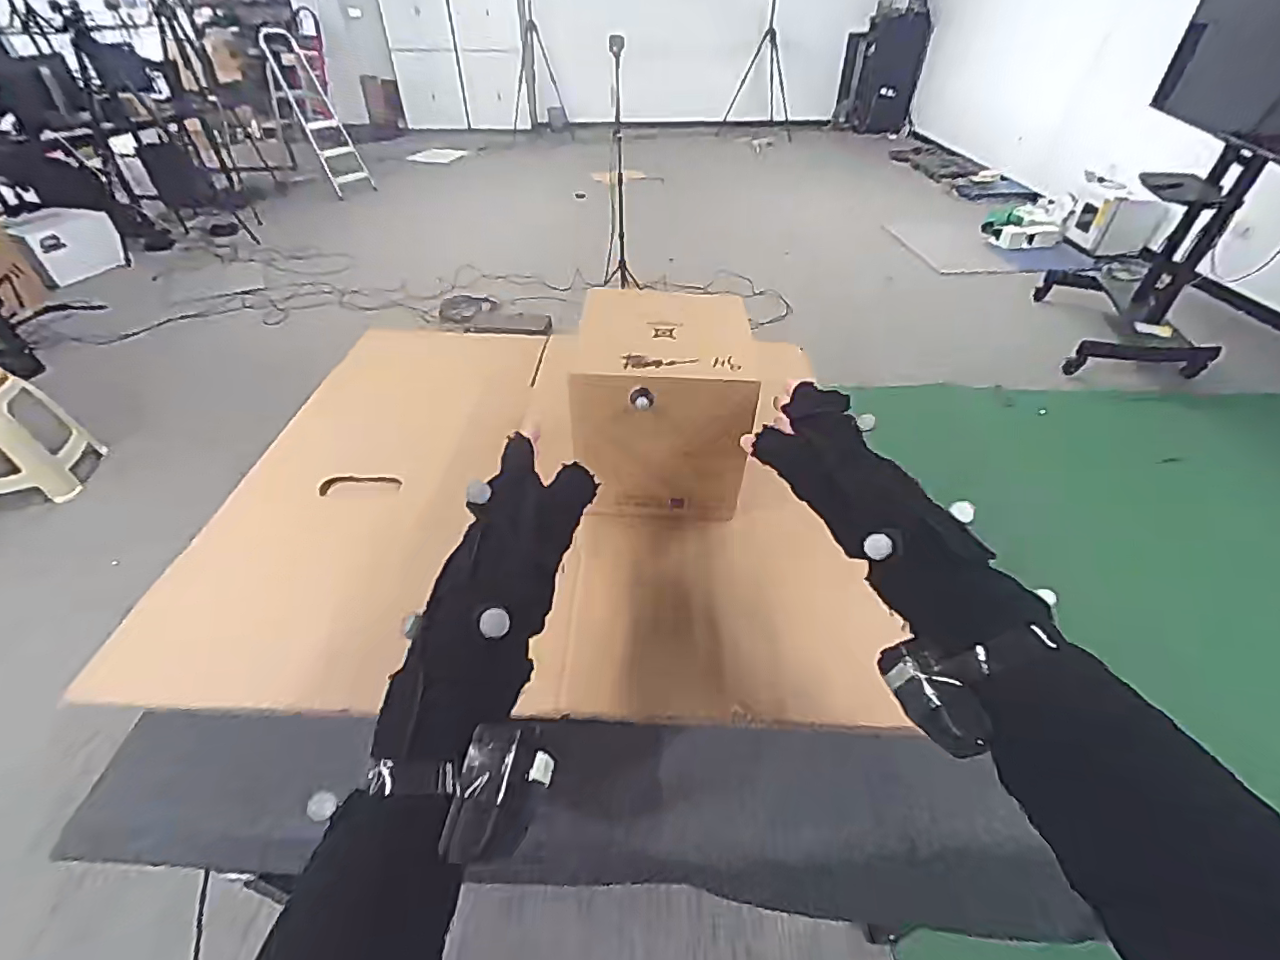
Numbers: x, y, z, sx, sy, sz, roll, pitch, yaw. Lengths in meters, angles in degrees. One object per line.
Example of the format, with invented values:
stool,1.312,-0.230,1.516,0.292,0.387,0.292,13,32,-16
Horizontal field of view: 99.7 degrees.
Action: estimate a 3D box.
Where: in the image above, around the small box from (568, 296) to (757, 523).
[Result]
small box,0.021,-0.077,0.574,0.168,0.176,0.179,3,41,2
